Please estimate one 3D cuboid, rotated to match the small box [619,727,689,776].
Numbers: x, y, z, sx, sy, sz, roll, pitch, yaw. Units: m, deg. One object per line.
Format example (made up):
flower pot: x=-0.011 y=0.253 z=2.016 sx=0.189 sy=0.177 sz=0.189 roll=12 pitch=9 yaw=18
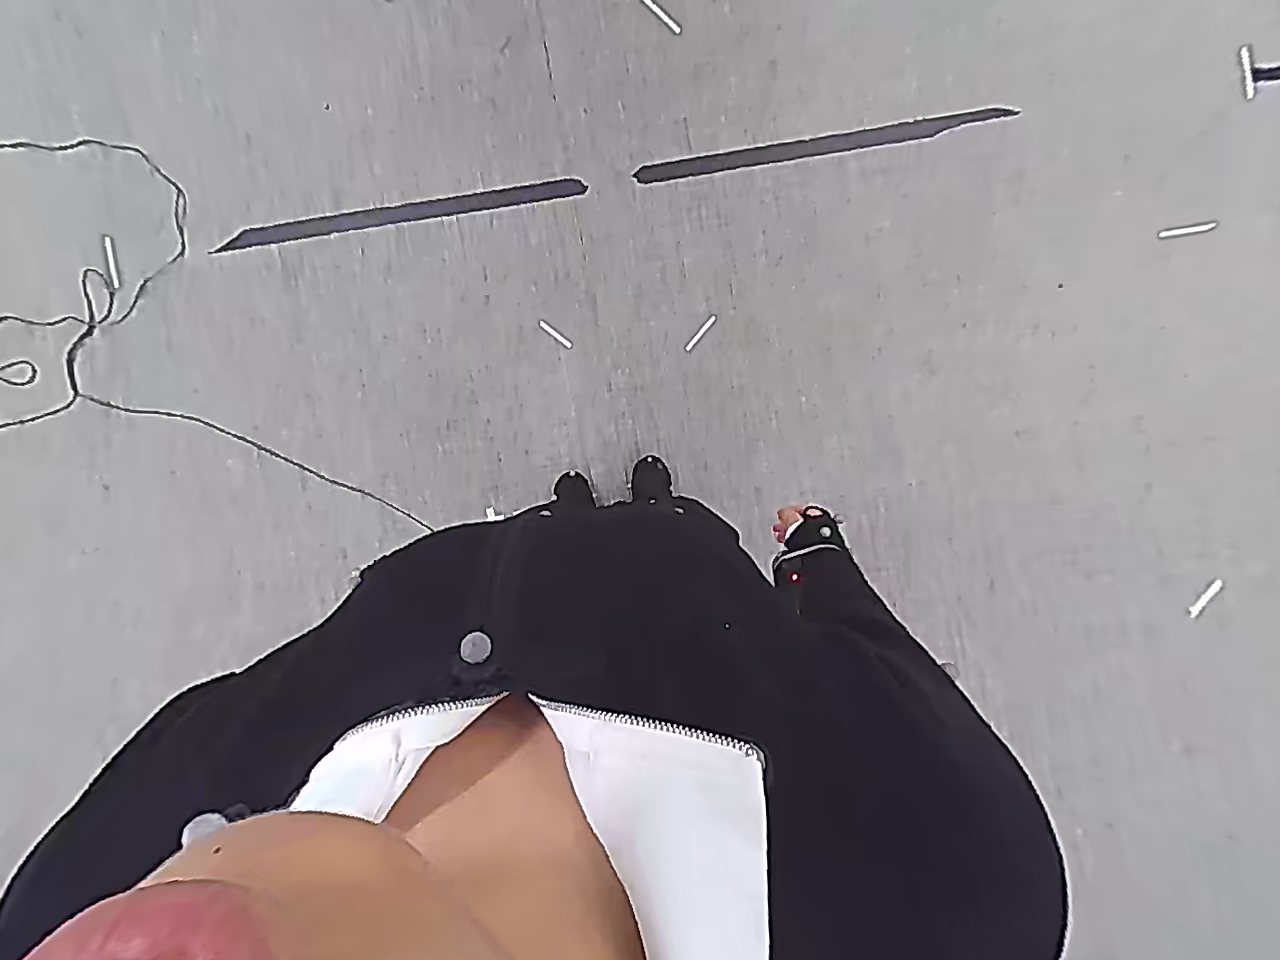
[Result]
small box: x=0.042 y=0.733 z=1.331 sx=0.168 sy=0.176 sz=0.179 roll=-12 pitch=91 yaw=-1
